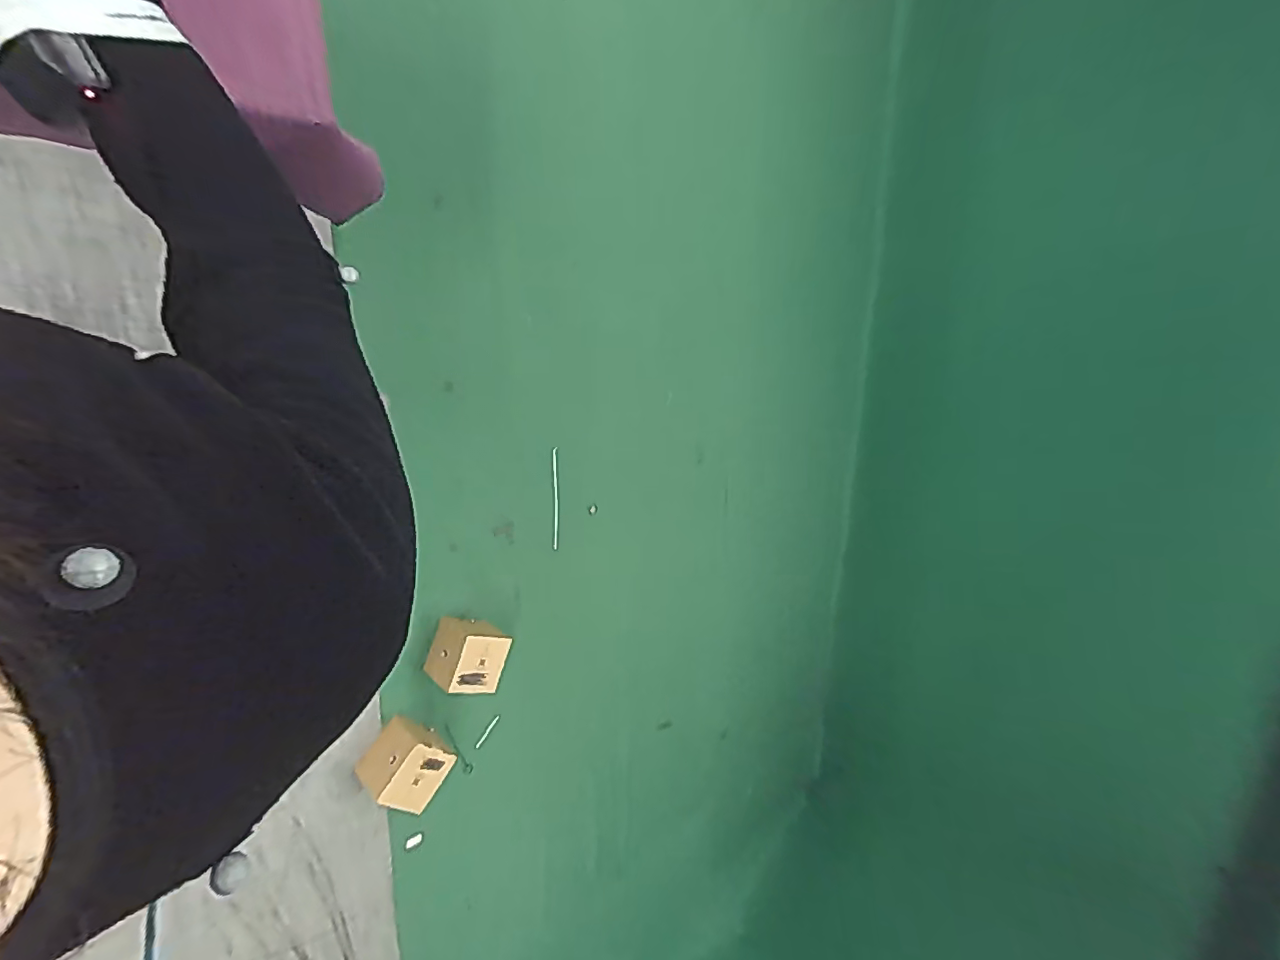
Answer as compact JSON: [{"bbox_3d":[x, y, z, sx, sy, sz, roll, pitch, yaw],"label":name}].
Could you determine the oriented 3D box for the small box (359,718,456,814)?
[{"bbox_3d":[-0.690,0.839,1.597,0.179,0.176,0.168,-56,133,-19],"label":"small box"}]
